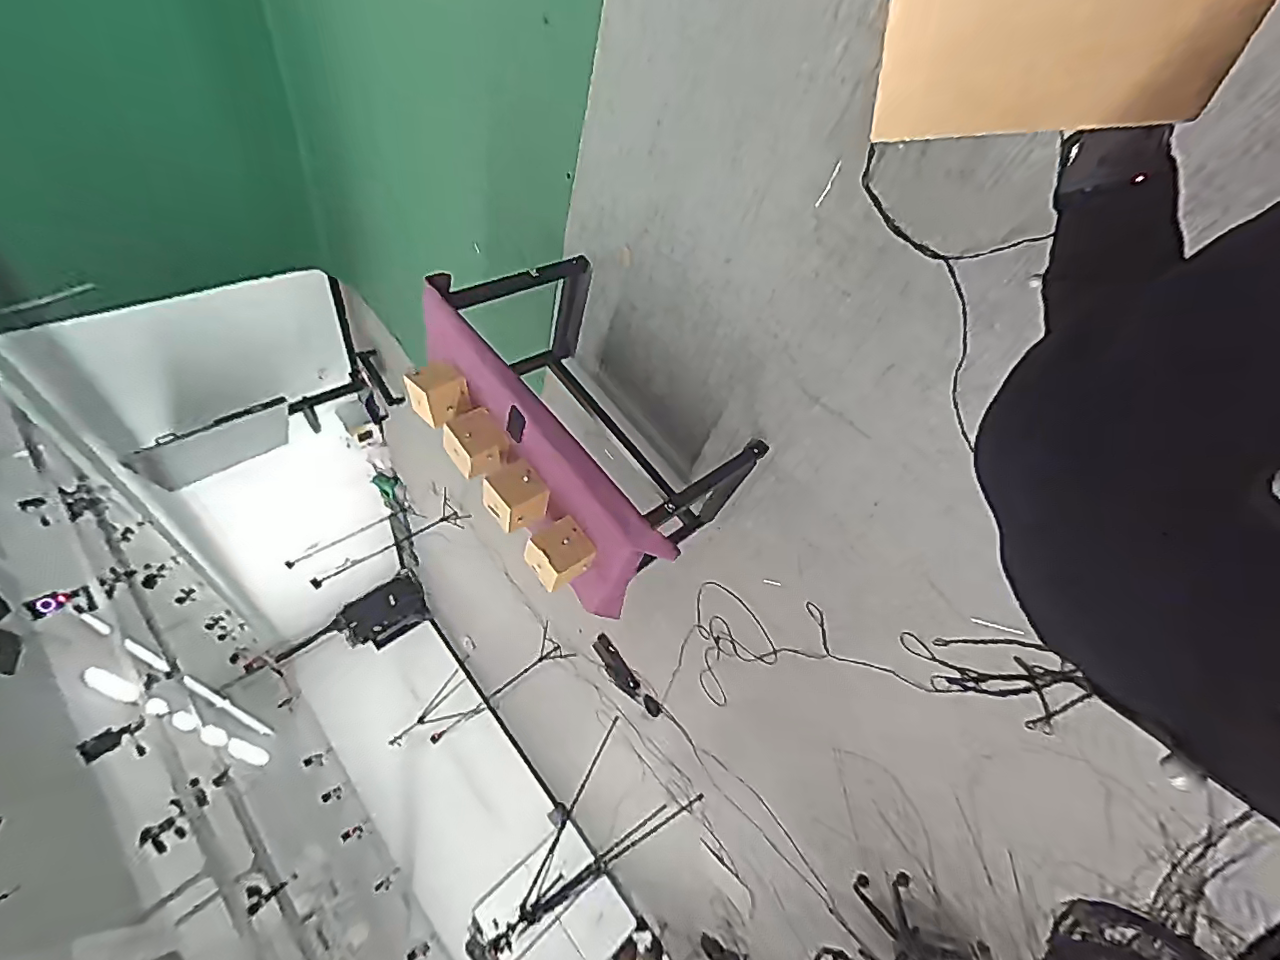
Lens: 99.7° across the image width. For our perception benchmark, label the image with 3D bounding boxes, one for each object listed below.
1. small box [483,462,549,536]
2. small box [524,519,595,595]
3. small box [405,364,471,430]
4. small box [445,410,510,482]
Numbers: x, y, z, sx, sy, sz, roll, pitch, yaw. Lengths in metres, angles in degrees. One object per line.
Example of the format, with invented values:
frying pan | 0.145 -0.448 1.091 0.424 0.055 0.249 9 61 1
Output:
small box | -0.445 0.066 1.946 0.168 0.176 0.179 47 145 19
small box | -0.278 0.263 1.874 0.168 0.176 0.179 51 146 15
small box | -0.763 -0.324 2.070 0.179 0.176 0.168 36 141 33
small box | -0.604 -0.130 2.008 0.179 0.176 0.168 52 146 13
